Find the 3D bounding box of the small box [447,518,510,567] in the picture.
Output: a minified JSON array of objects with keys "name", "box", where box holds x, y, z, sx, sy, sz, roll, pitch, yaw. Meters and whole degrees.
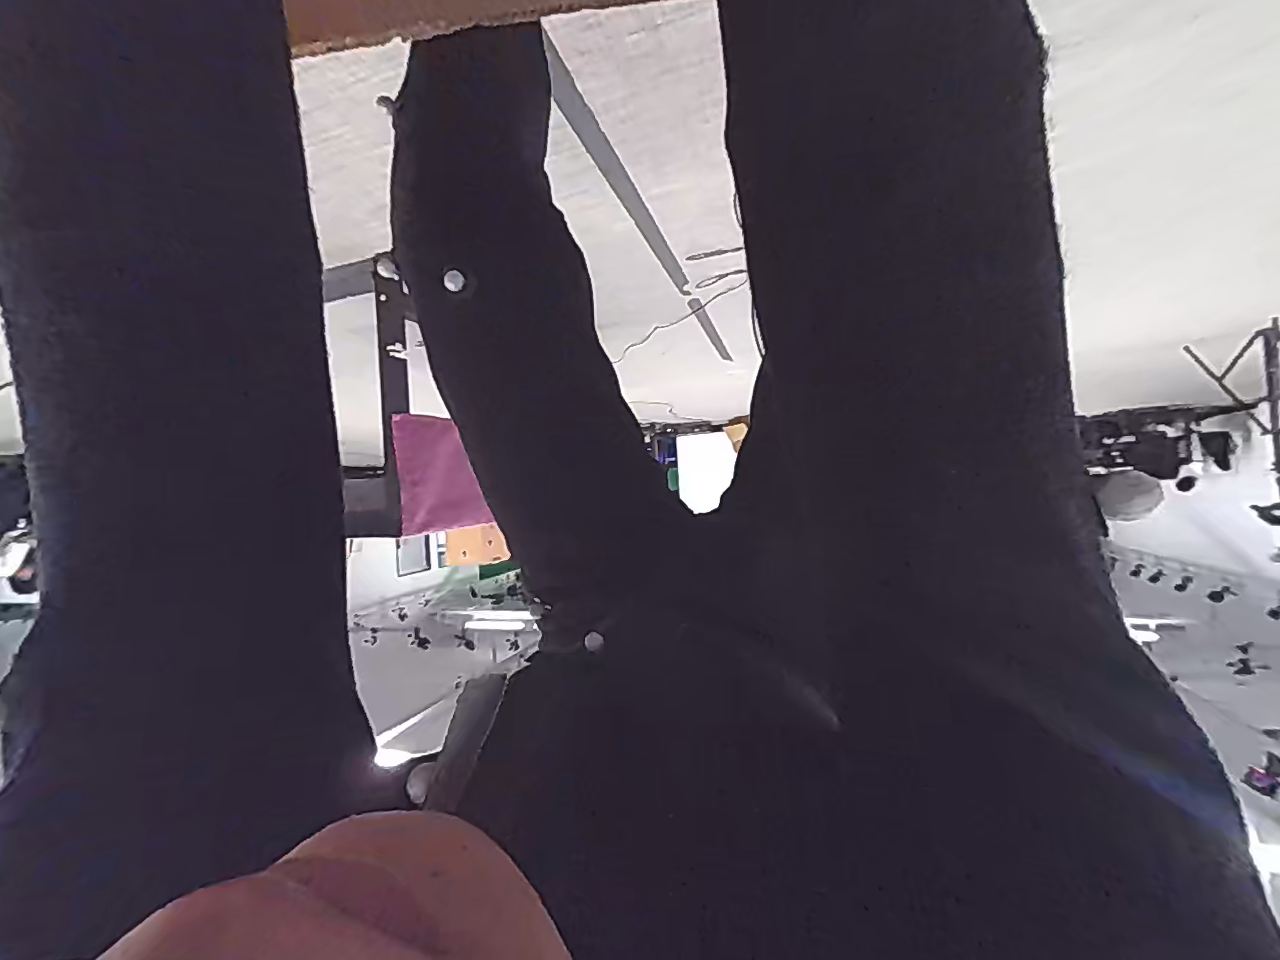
[{"name":"small box","box":[-0.626,0.238,2.086,0.179,0.176,0.168,-4,178,20]}]
